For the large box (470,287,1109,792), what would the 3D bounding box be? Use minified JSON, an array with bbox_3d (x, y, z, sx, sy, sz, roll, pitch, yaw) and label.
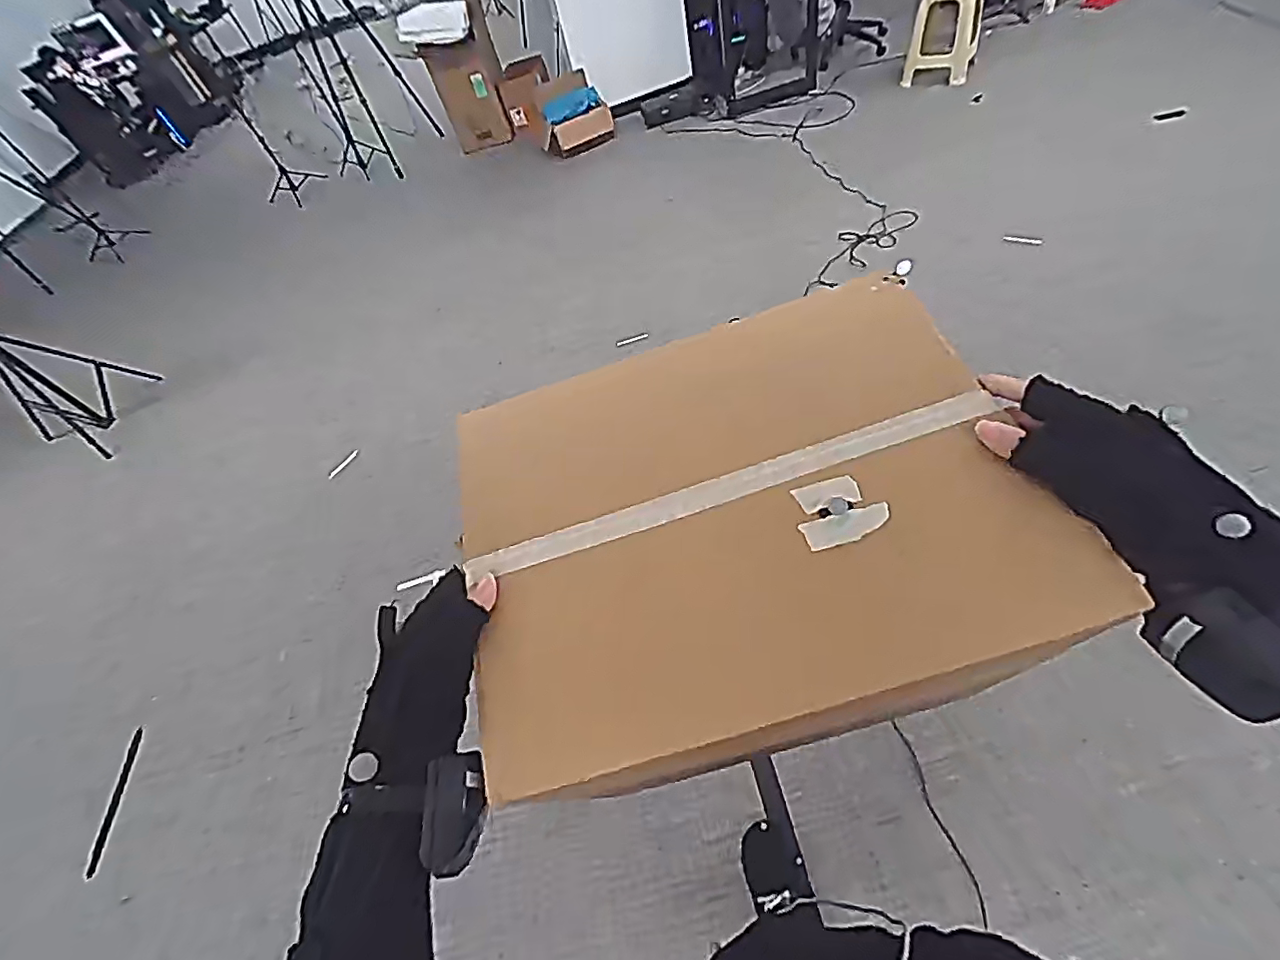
[{"bbox_3d":[0.094,0.085,0.541,0.408,0.320,0.320,-18,59,3],"label":"large box"}]
